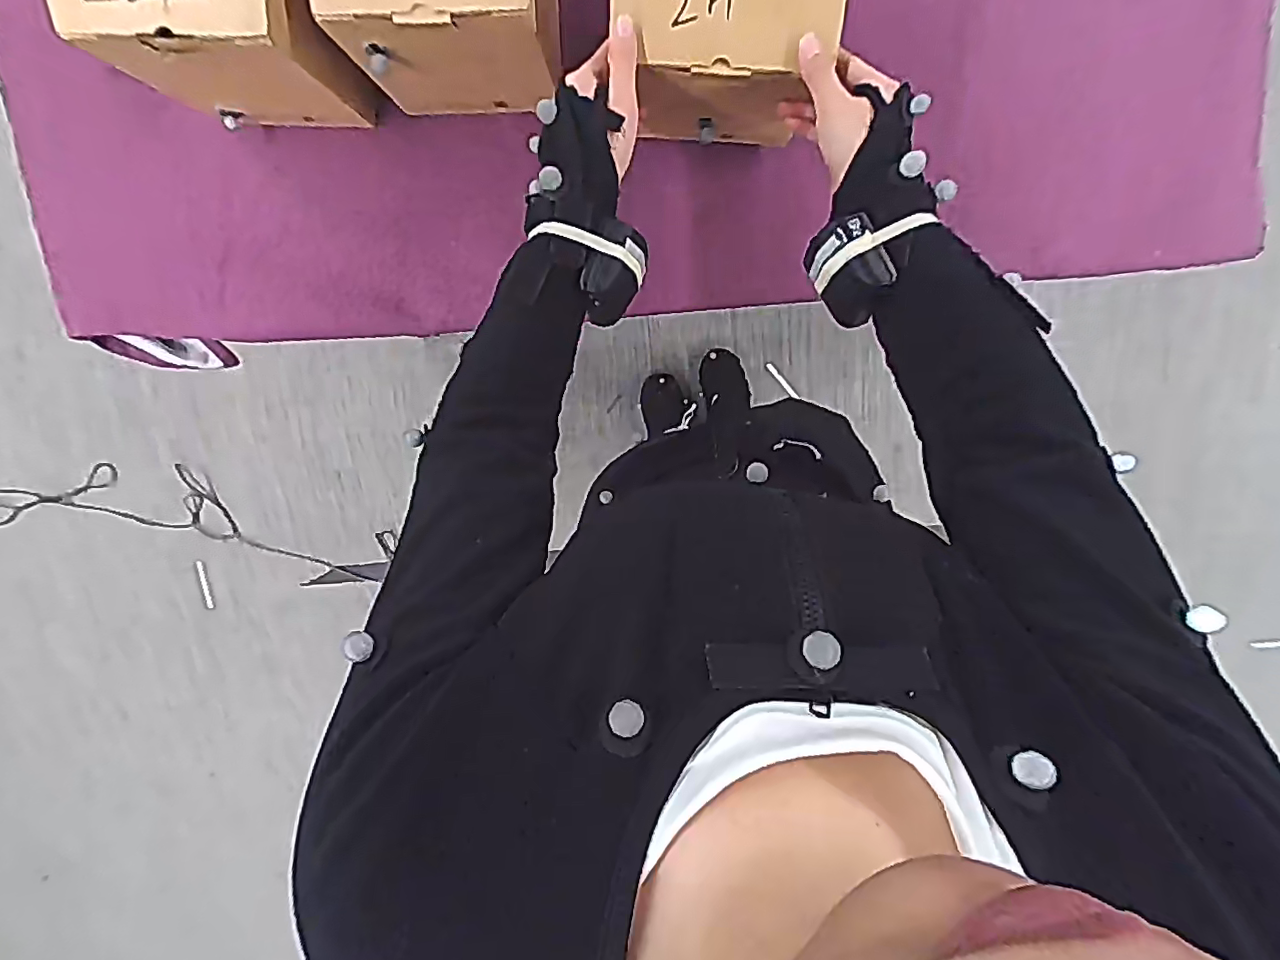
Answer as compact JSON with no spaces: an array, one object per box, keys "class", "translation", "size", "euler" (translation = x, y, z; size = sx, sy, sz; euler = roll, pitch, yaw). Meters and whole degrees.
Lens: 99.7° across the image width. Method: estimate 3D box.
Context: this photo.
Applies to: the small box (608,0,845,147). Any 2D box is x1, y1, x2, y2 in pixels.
[{"class":"small box","translation":[0.066,-0.400,0.440],"size":[0.168,0.176,0.179],"euler":[4,107,1]}]
